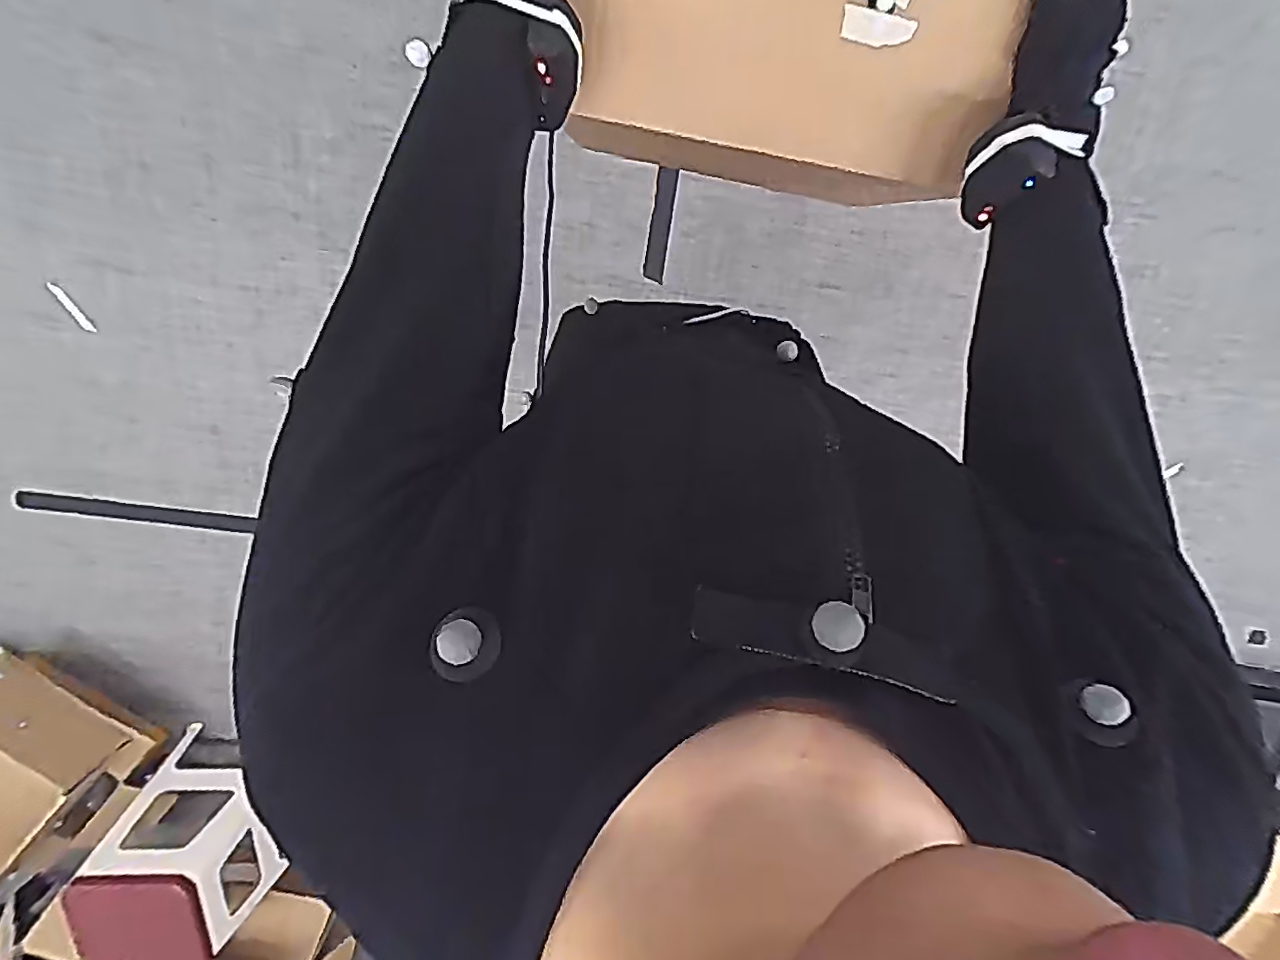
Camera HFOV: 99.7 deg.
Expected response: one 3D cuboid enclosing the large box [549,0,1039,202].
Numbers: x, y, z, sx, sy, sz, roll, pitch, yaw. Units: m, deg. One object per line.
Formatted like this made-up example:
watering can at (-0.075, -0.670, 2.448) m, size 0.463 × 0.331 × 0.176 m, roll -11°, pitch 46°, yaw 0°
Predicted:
large box at (0.136, -0.497, 0.564) m, size 0.408 × 0.320 × 0.320 m, roll 9°, pitch 116°, yaw -4°
